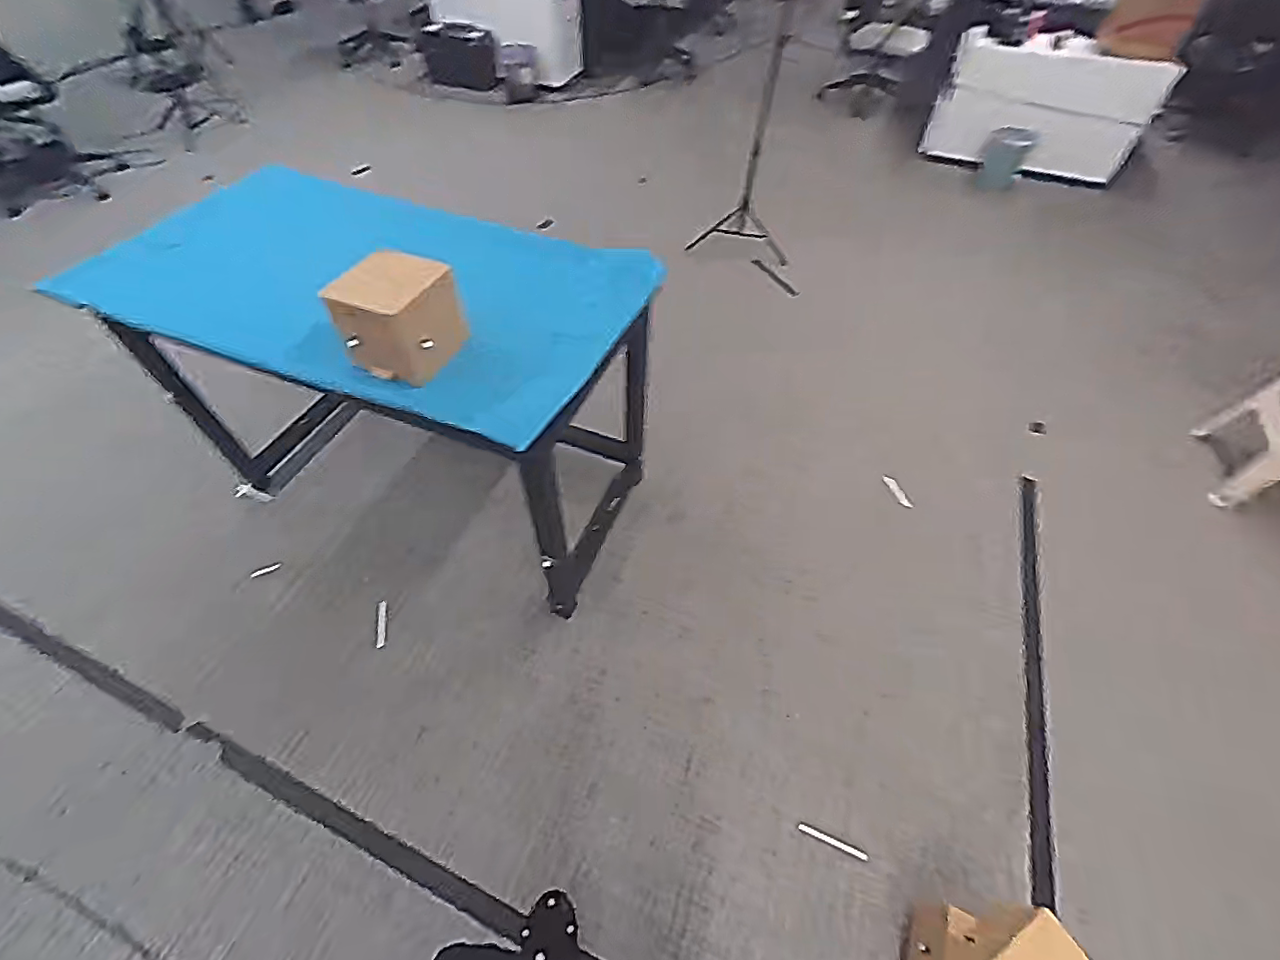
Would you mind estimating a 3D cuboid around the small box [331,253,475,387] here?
[{"bbox_3d":[-0.456,-0.316,1.055,0.168,0.176,0.179,19,53,12],"label":"small box"}]

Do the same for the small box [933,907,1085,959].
[{"bbox_3d":[0.638,0.853,0.904,0.179,0.176,0.168,-23,57,-19],"label":"small box"}]

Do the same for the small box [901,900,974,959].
[{"bbox_3d":[0.622,0.951,1.040,0.168,0.176,0.179,22,54,13],"label":"small box"}]
